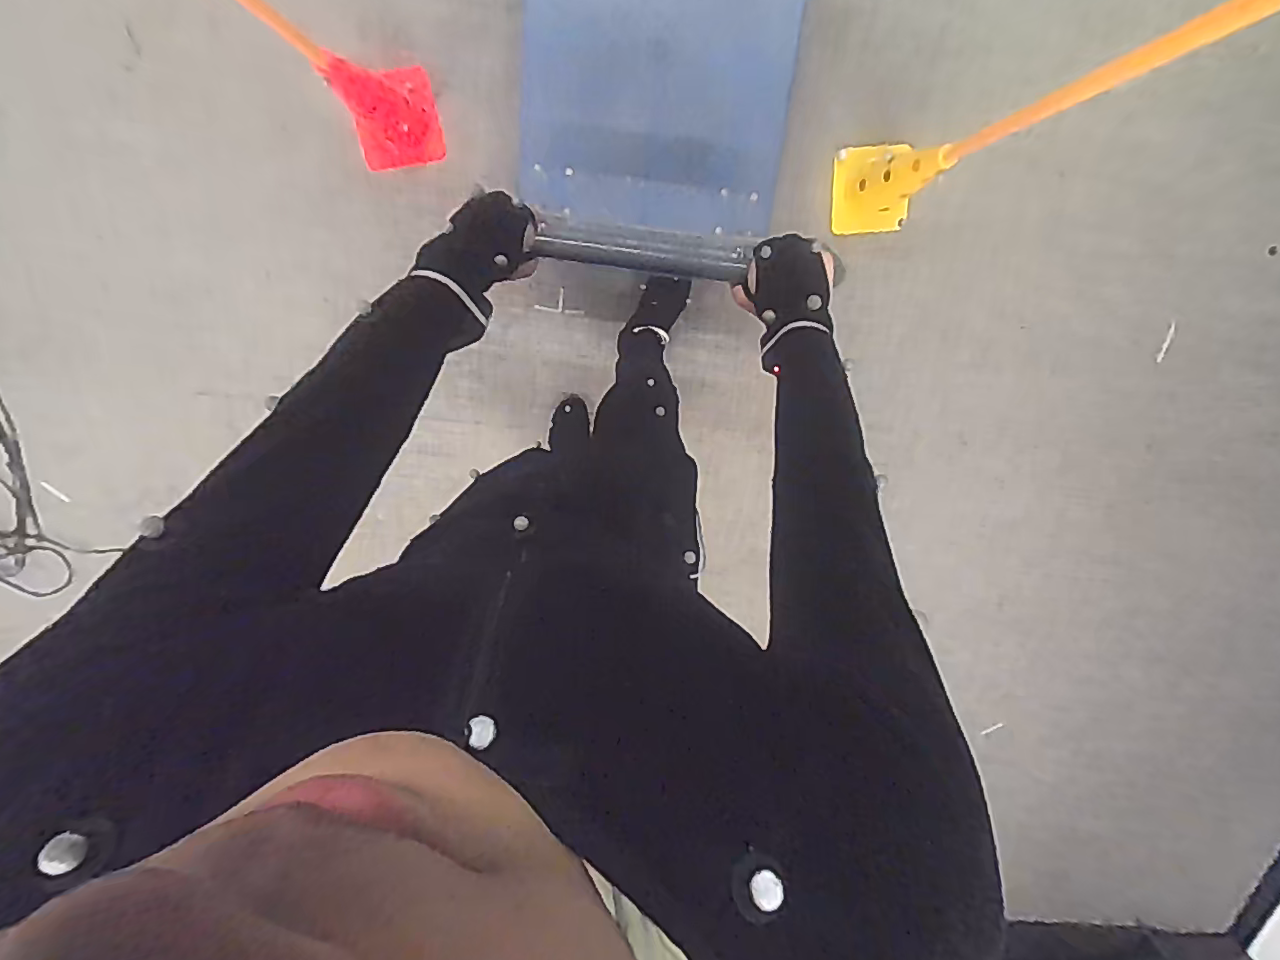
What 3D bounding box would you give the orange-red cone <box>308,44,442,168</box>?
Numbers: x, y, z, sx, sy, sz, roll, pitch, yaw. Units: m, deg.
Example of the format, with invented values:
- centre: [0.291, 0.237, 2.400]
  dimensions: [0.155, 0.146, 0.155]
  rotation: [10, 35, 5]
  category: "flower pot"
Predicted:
- centre: [-0.577, -0.804, 1.122]
  dimensions: [0.199, 0.360, 0.198]
  rotation: [-7, 109, 1]
  category: "orange-red cone"
